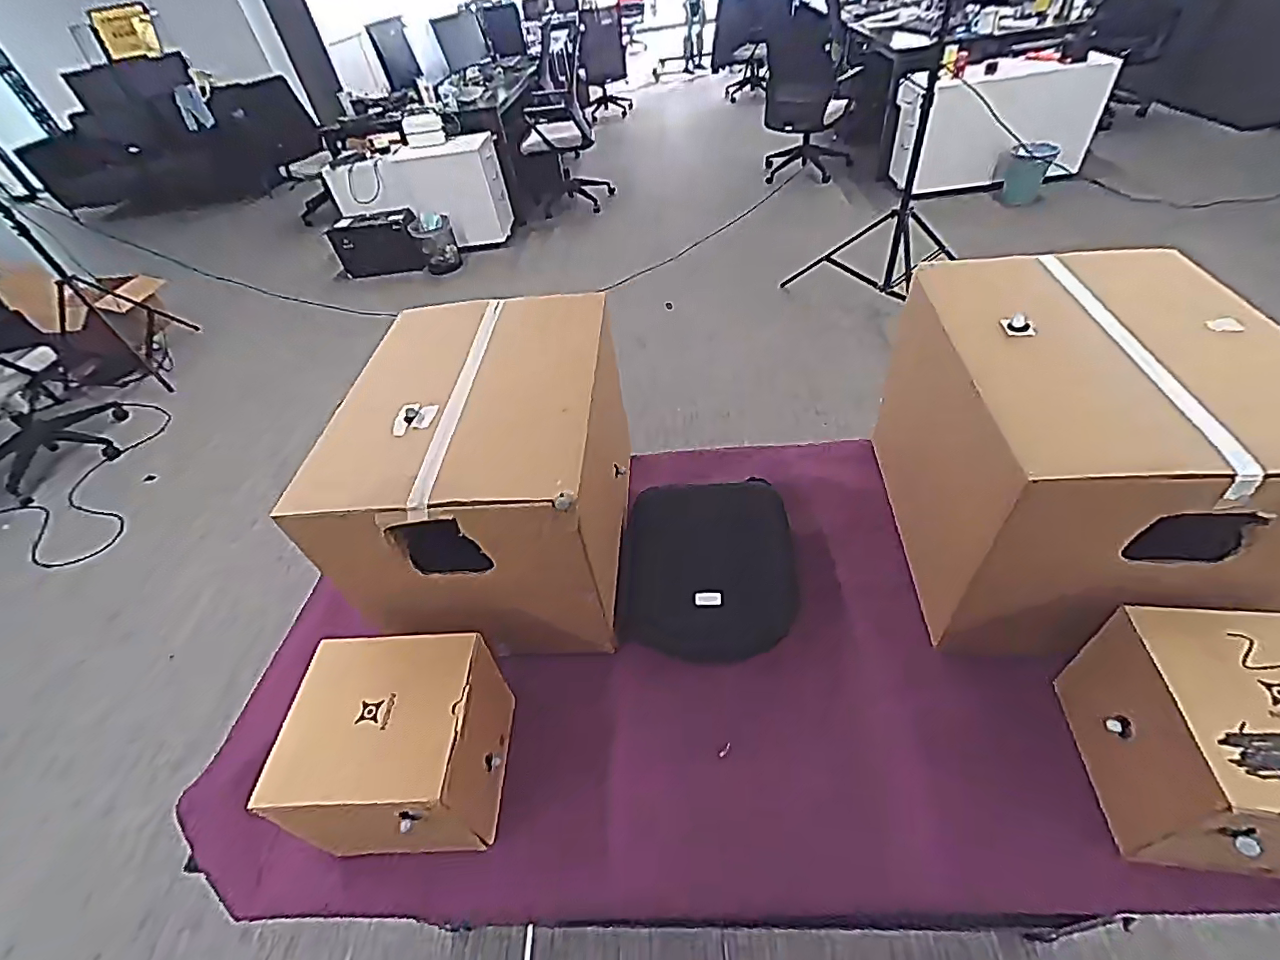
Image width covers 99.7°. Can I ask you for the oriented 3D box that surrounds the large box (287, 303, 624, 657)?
[{"bbox_3d":[-0.194,-0.003,0.775,0.320,0.320,0.408,-4,48,6],"label":"large box"}]
